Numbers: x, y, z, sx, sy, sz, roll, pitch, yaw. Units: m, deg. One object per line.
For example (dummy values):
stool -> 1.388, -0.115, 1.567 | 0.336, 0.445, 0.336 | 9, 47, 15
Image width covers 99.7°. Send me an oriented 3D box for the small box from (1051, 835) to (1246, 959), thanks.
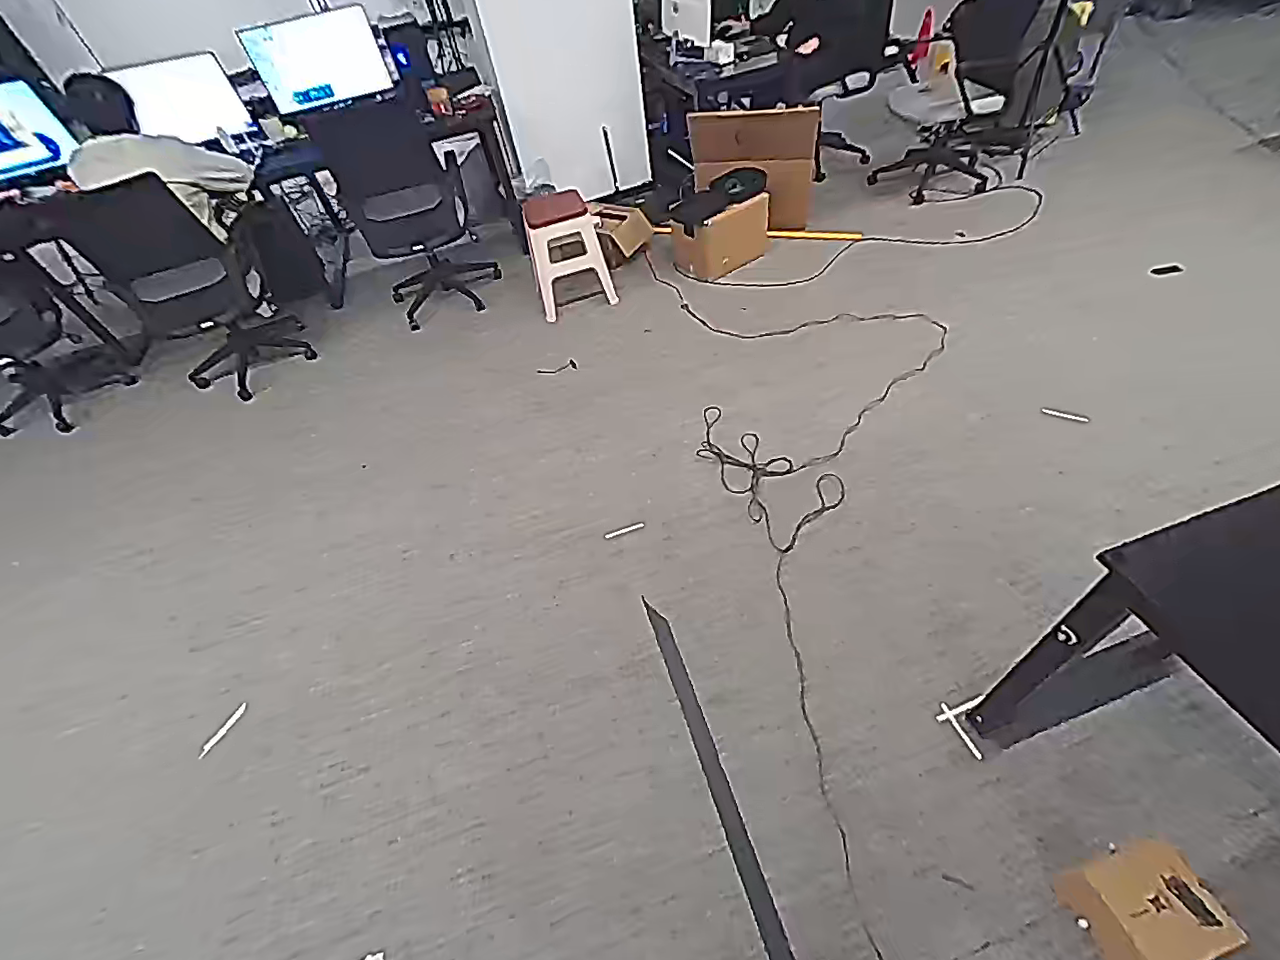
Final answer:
small box -> 0.935, 0.802, 1.018 | 0.179, 0.176, 0.168 | -20, 48, -5
